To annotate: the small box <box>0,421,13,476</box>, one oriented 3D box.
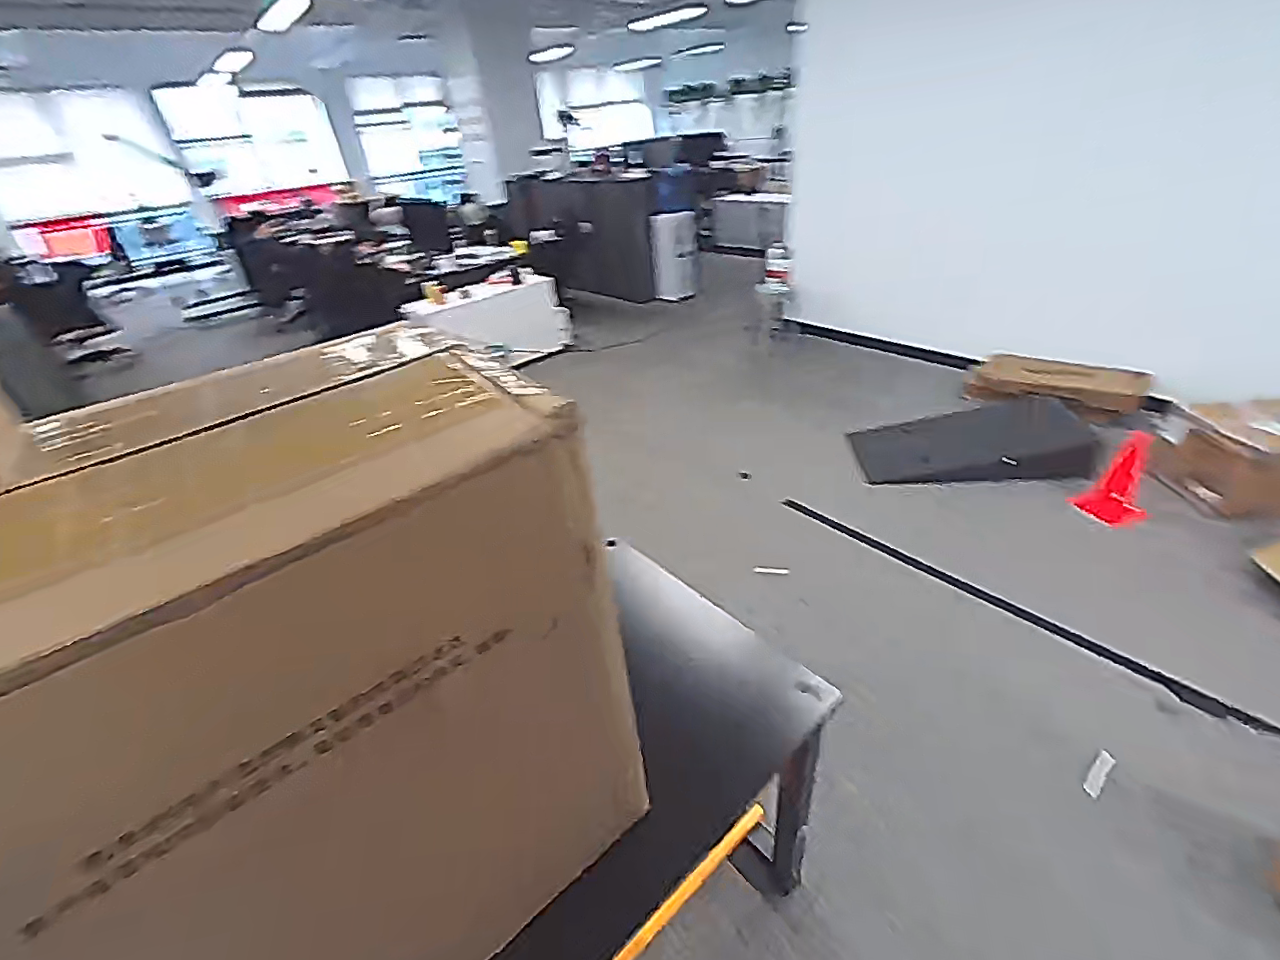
[{"bbox_3d":[-0.562,-0.049,0.339,0.168,0.176,0.179,-32,39,-34],"label":"small box"}]
